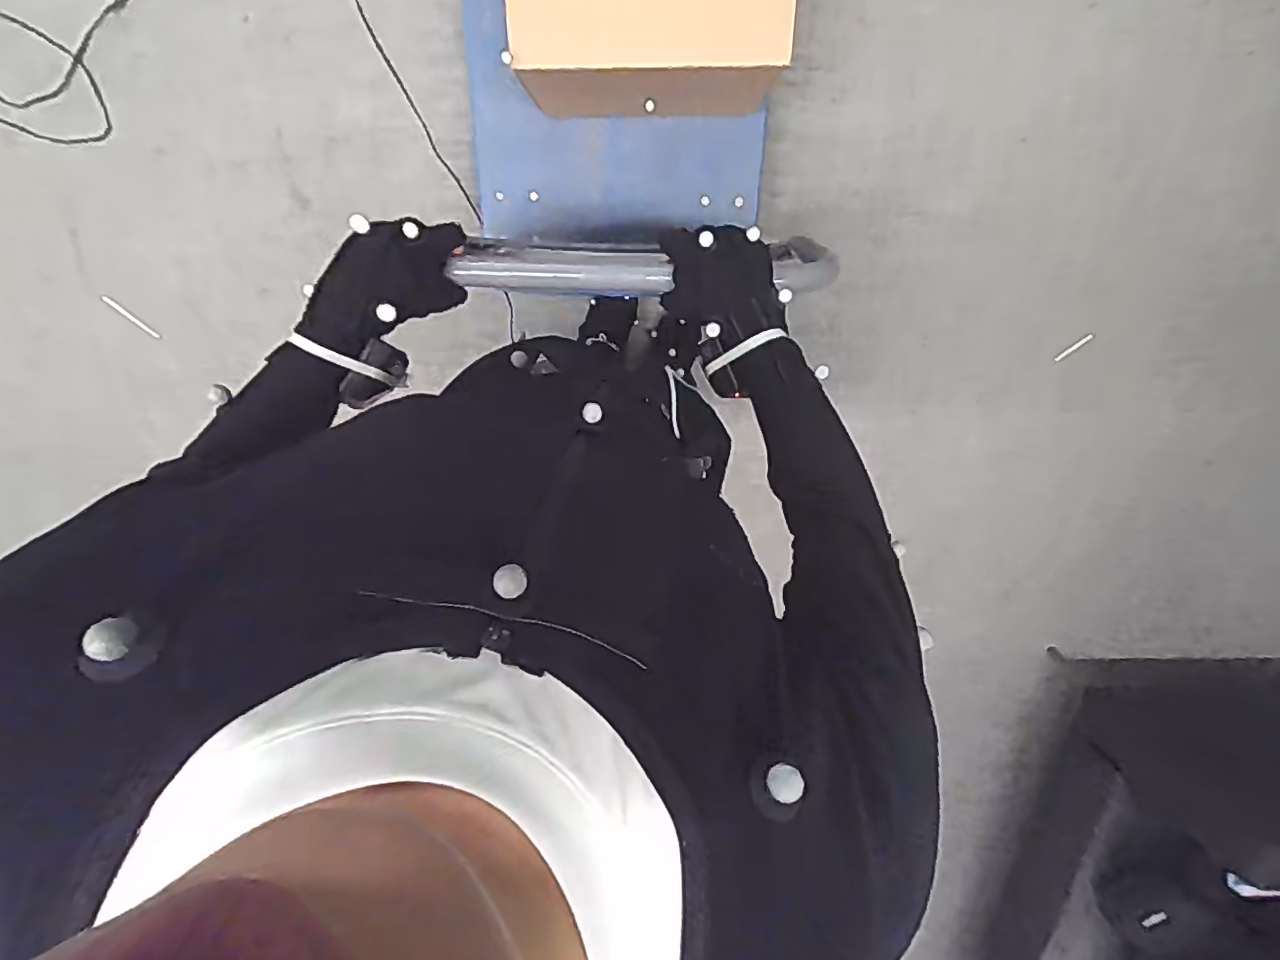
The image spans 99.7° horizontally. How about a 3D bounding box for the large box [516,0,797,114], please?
[{"bbox_3d":[0.024,-0.805,0.868,0.408,0.320,0.320,-1,113,2],"label":"large box"}]
